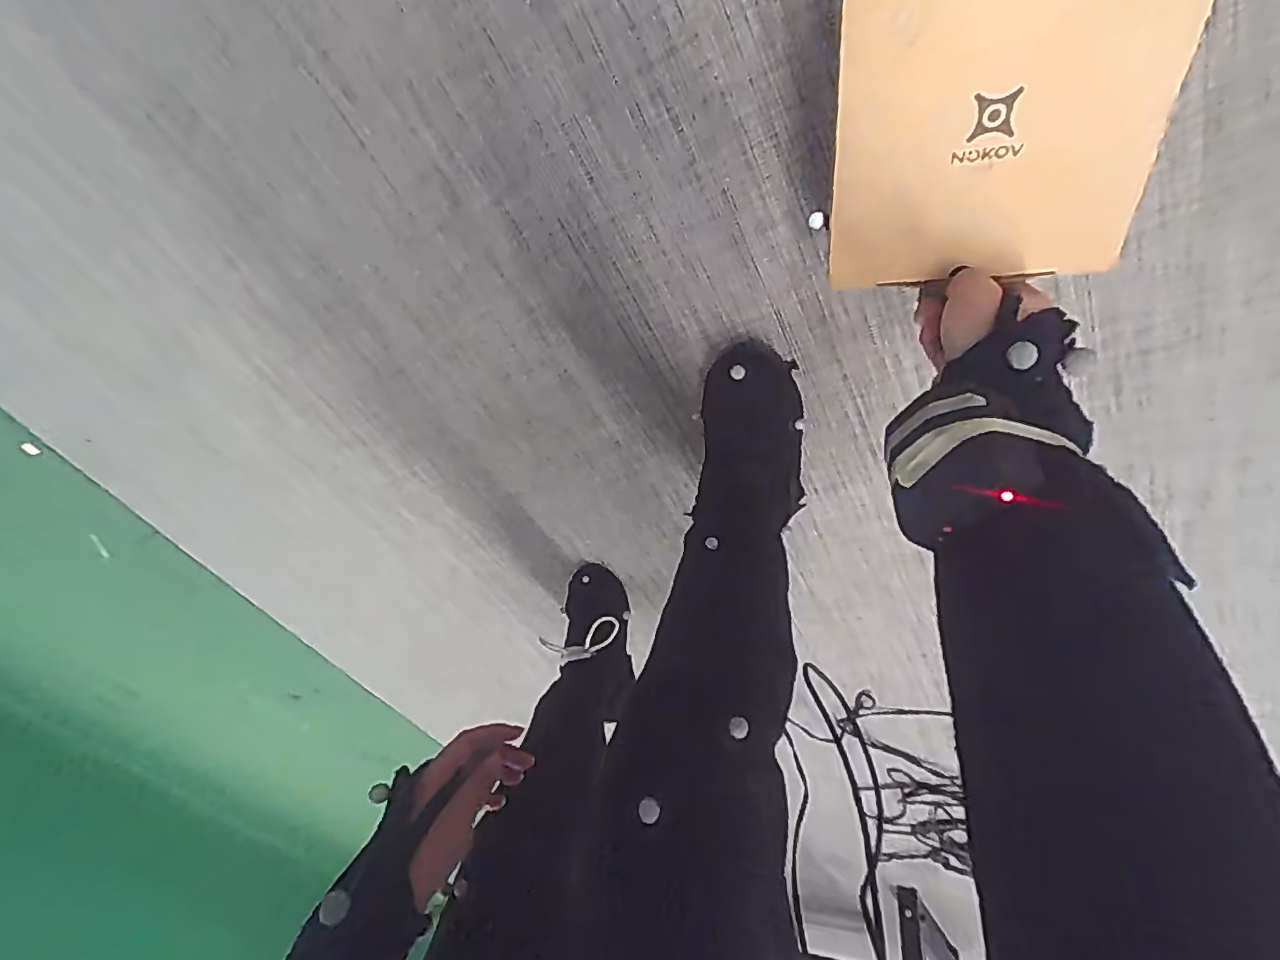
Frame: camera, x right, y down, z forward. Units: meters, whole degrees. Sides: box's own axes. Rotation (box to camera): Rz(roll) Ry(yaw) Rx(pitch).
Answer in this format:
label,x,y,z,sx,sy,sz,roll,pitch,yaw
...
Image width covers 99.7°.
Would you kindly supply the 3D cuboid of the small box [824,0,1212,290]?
label,x,y,z,sx,sy,sz,roll,pitch,yaw
small box,0.212,-0.244,0.355,0.168,0.176,0.179,2,129,18
